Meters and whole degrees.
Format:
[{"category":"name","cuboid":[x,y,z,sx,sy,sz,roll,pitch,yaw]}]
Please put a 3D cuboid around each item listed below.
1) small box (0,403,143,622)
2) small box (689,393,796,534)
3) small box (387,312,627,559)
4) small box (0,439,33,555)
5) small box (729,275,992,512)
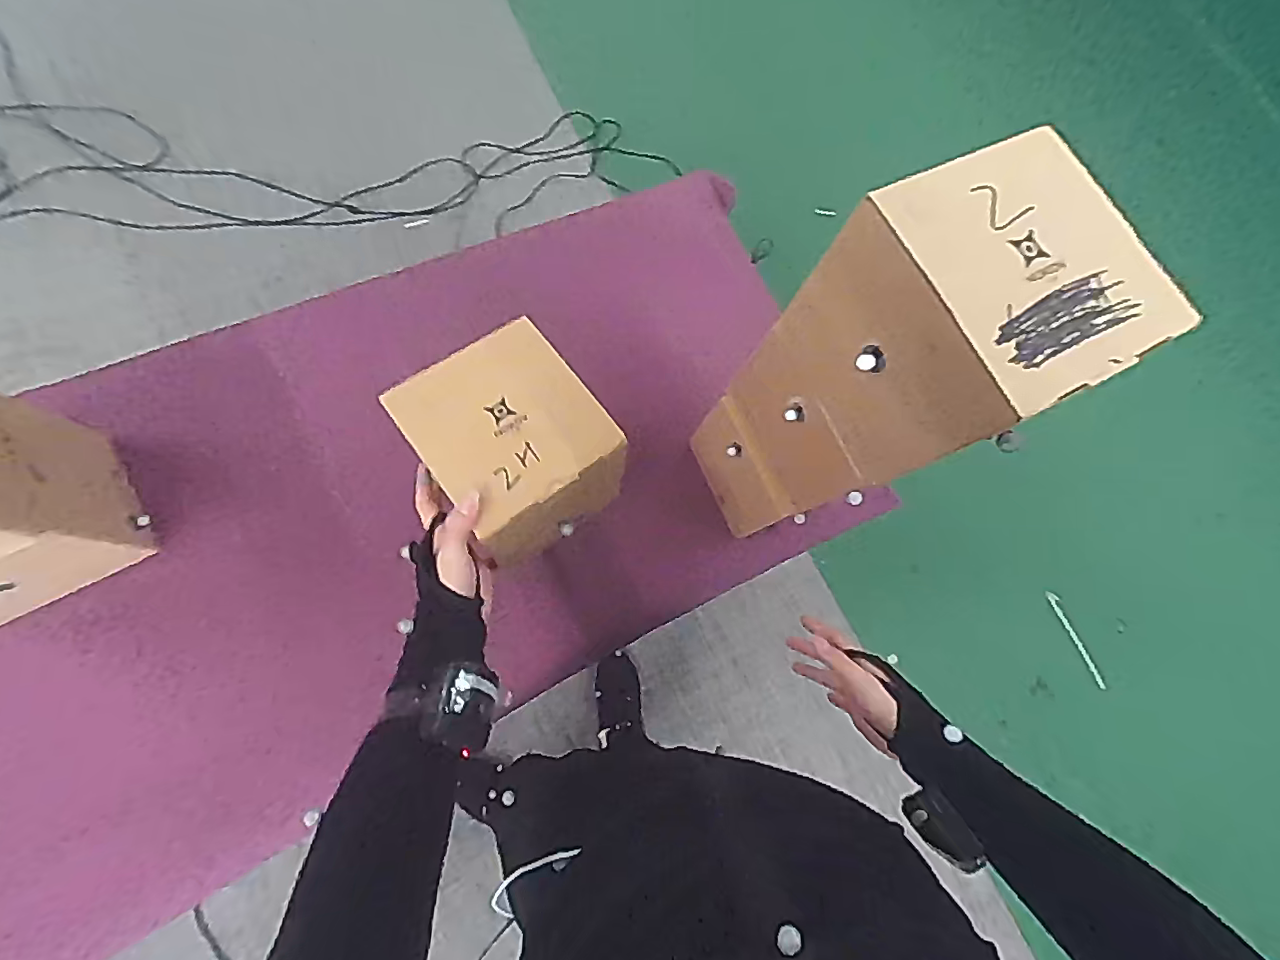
[{"category":"small box","cuboid":[-0.676,0.037,0.560,0.179,0.176,0.168,-29,83,-16]},{"category":"small box","cuboid":[0.191,-0.039,0.745,0.179,0.176,0.168,-22,80,-14]},{"category":"small box","cuboid":[-0.135,-0.038,0.588,0.168,0.176,0.179,-35,77,-16]},{"category":"small box","cuboid":[-0.640,0.000,0.406,0.168,0.176,0.179,-29,83,-16]},{"category":"small box","cuboid":[0.220,-0.083,0.590,0.168,0.176,0.179,-22,80,-13]}]
